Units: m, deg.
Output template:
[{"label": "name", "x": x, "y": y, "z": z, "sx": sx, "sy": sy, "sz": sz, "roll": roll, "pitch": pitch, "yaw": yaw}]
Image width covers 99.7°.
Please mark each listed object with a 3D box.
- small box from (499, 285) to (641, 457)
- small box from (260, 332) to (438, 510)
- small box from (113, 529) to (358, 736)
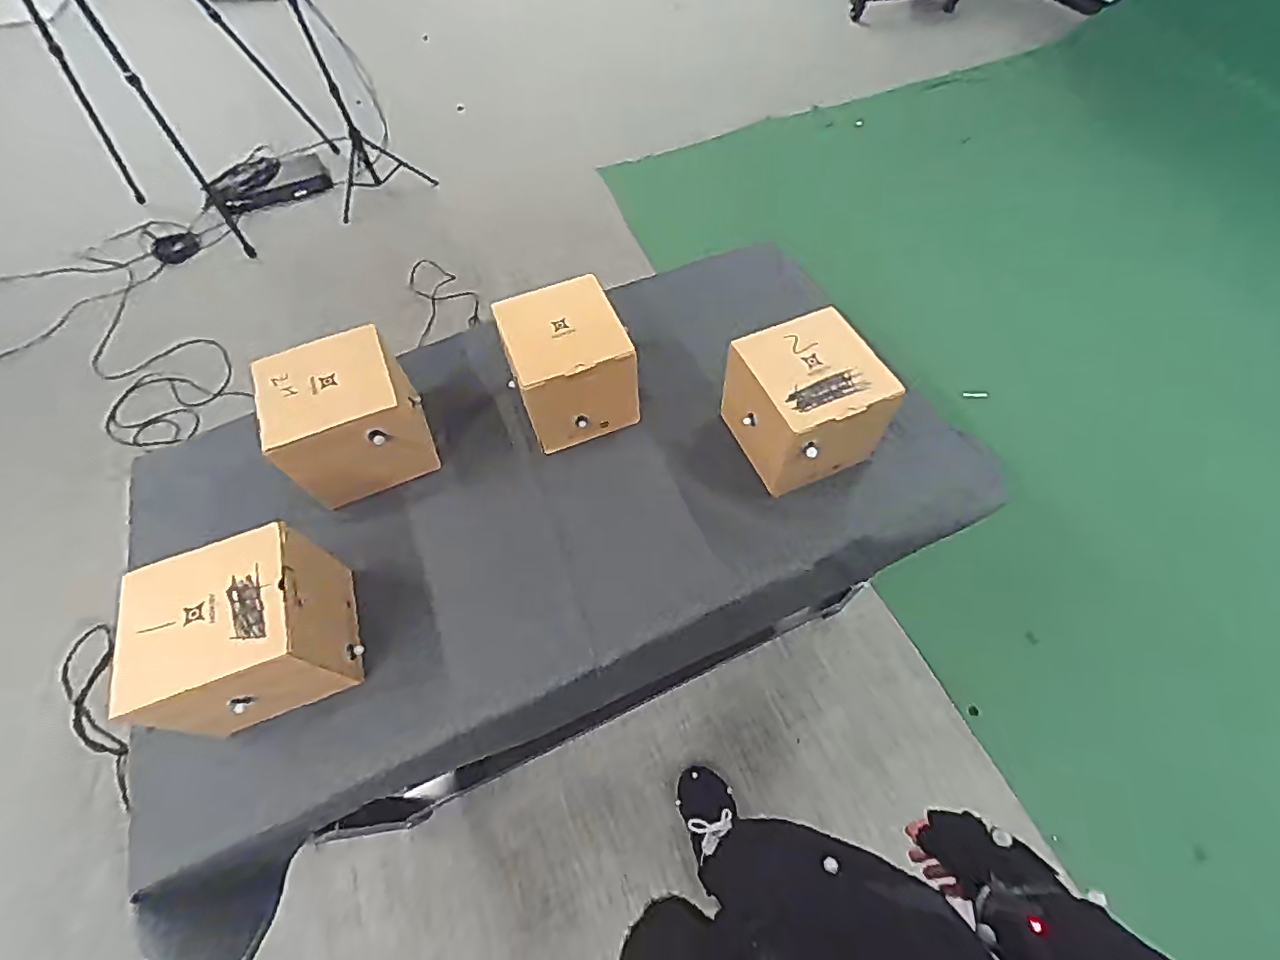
[{"label": "small box", "x": -0.105, "y": -0.167, "z": 0.847, "sx": 0.168, "sy": 0.176, "sz": 0.179, "roll": -20, "pitch": 62, "yaw": -10}, {"label": "small box", "x": -0.419, "y": -0.082, "z": 0.804, "sx": 0.179, "sy": 0.176, "sz": 0.168, "roll": -22, "pitch": 62, "yaw": -10}, {"label": "small box", "x": -0.462, "y": 0.188, "z": 0.650, "sx": 0.179, "sy": 0.176, "sz": 0.168, "roll": -20, "pitch": 60, "yaw": -9}]
